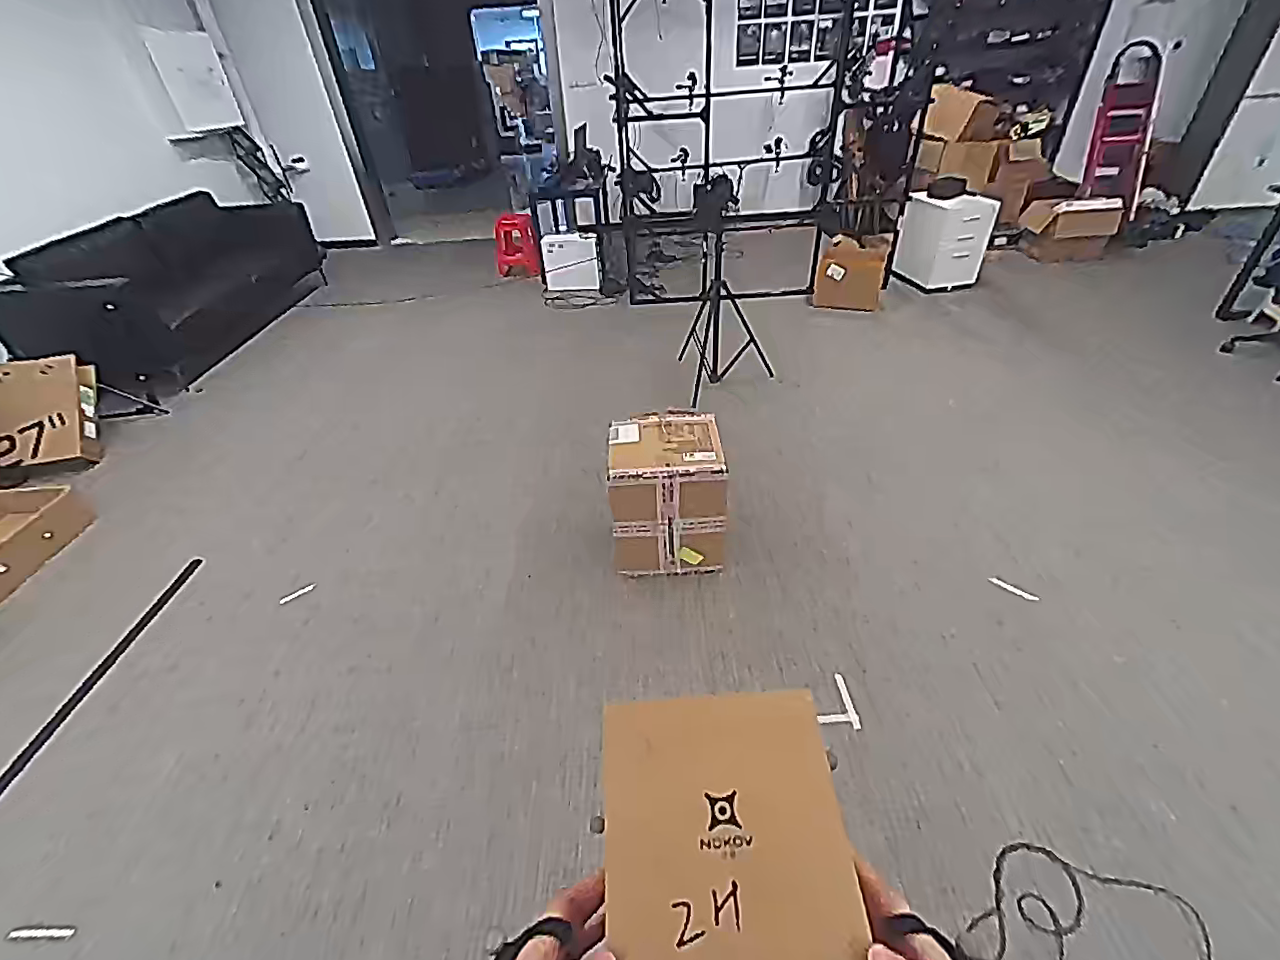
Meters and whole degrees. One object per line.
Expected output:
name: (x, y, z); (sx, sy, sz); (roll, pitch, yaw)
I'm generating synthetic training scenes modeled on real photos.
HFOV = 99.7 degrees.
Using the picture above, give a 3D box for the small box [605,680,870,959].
small box: (0.060, 0.284, 0.444); (0.168, 0.176, 0.179); (-4, 50, 1)
